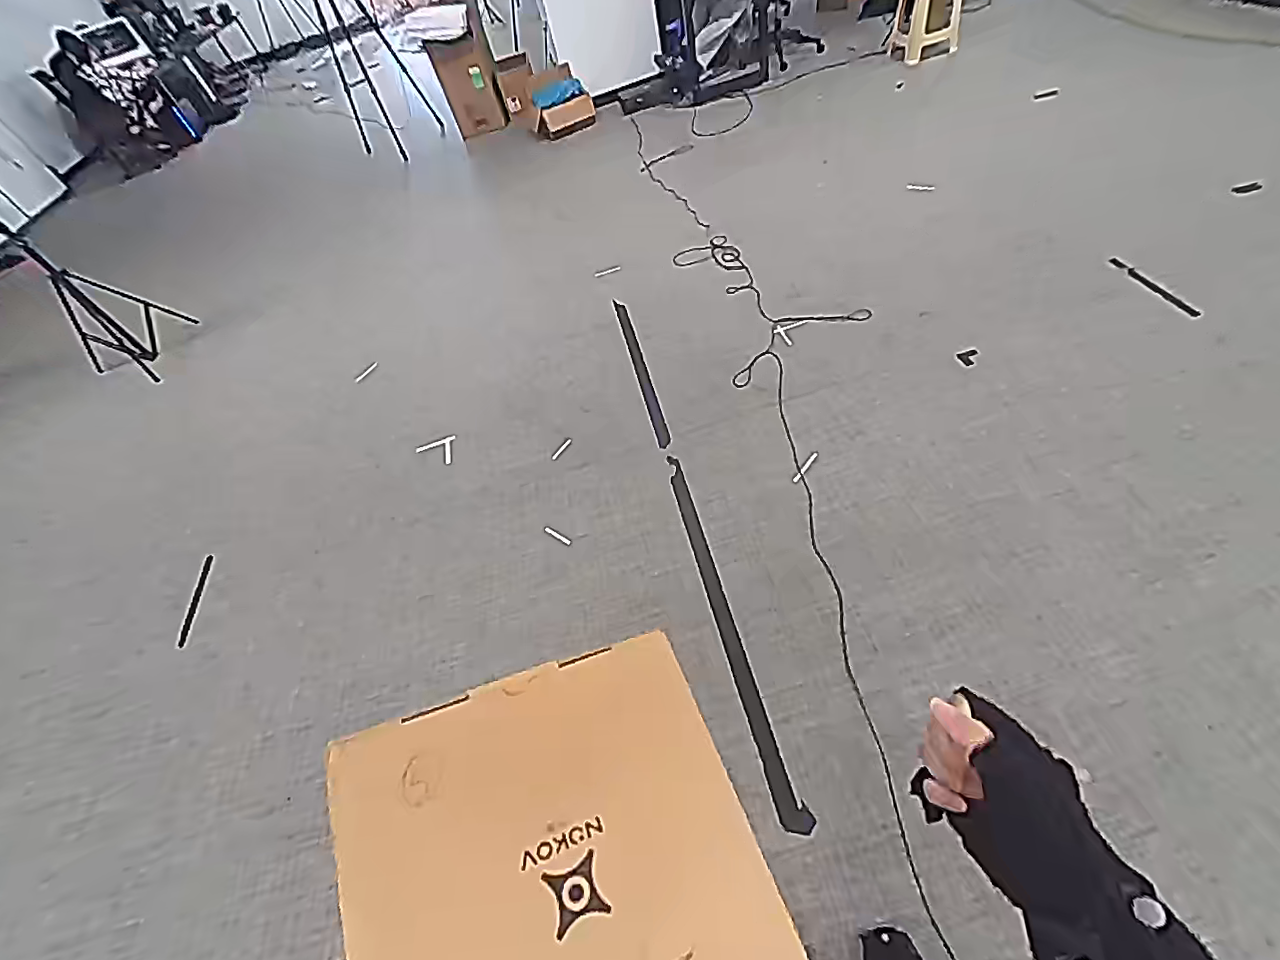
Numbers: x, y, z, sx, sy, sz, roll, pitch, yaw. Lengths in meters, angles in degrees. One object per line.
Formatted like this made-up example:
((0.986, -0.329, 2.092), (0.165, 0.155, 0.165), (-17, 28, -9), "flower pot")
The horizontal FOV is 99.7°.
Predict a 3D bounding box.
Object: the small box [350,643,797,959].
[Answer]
((-0.048, 0.221, 0.298), (0.168, 0.176, 0.179), (-12, 59, -24), "small box")
